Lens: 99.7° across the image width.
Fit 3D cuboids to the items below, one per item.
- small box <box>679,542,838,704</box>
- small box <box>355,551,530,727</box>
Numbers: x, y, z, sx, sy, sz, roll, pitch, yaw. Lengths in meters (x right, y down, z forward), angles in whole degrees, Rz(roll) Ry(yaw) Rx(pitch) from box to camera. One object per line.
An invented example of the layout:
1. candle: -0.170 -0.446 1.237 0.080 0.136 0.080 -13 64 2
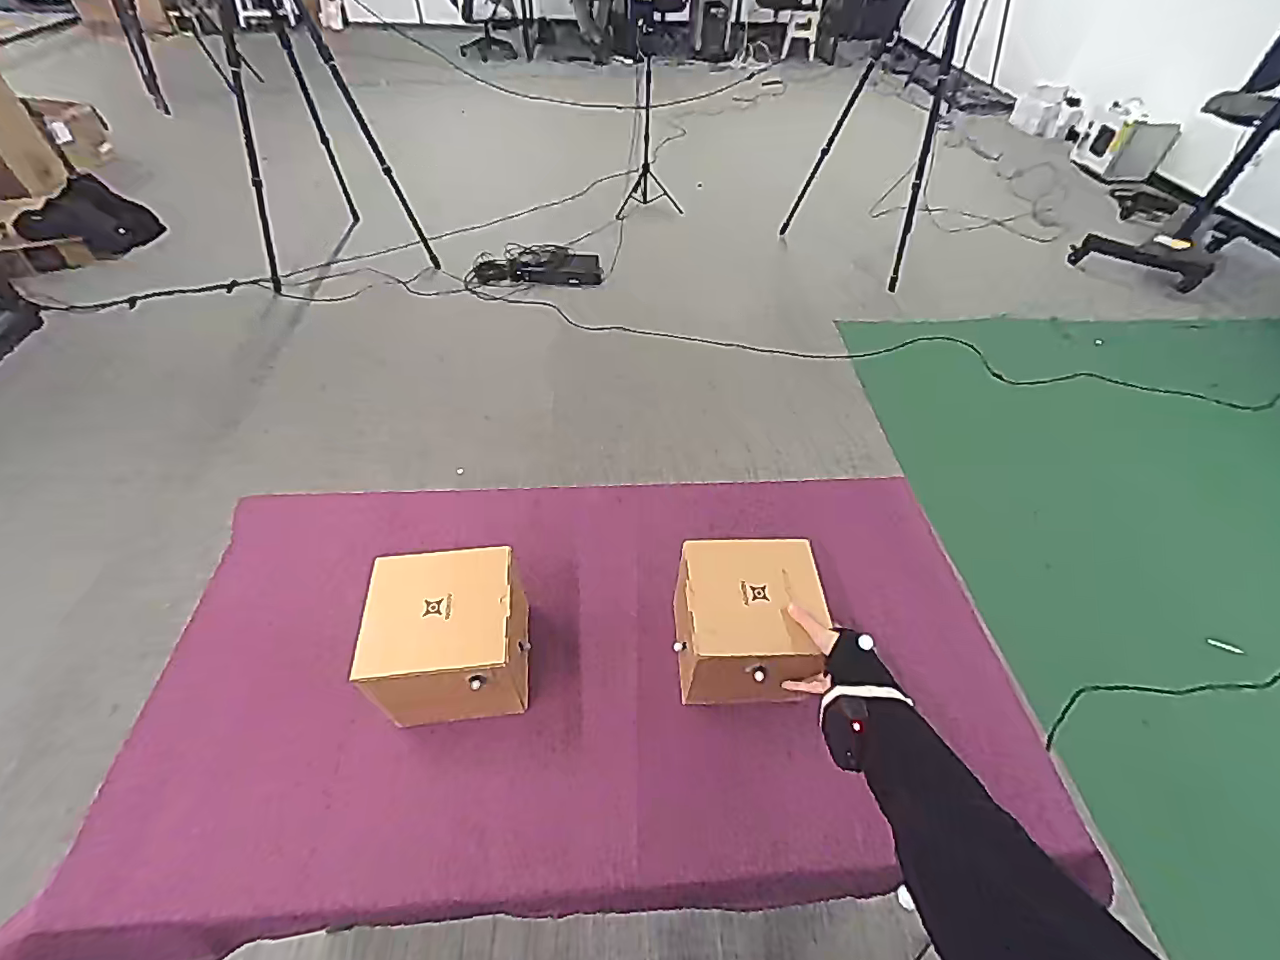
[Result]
1. small box: 0.147 0.201 0.750 0.179 0.176 0.168 0 49 -3
2. small box: -0.248 0.216 0.728 0.179 0.176 0.168 -4 48 -7
